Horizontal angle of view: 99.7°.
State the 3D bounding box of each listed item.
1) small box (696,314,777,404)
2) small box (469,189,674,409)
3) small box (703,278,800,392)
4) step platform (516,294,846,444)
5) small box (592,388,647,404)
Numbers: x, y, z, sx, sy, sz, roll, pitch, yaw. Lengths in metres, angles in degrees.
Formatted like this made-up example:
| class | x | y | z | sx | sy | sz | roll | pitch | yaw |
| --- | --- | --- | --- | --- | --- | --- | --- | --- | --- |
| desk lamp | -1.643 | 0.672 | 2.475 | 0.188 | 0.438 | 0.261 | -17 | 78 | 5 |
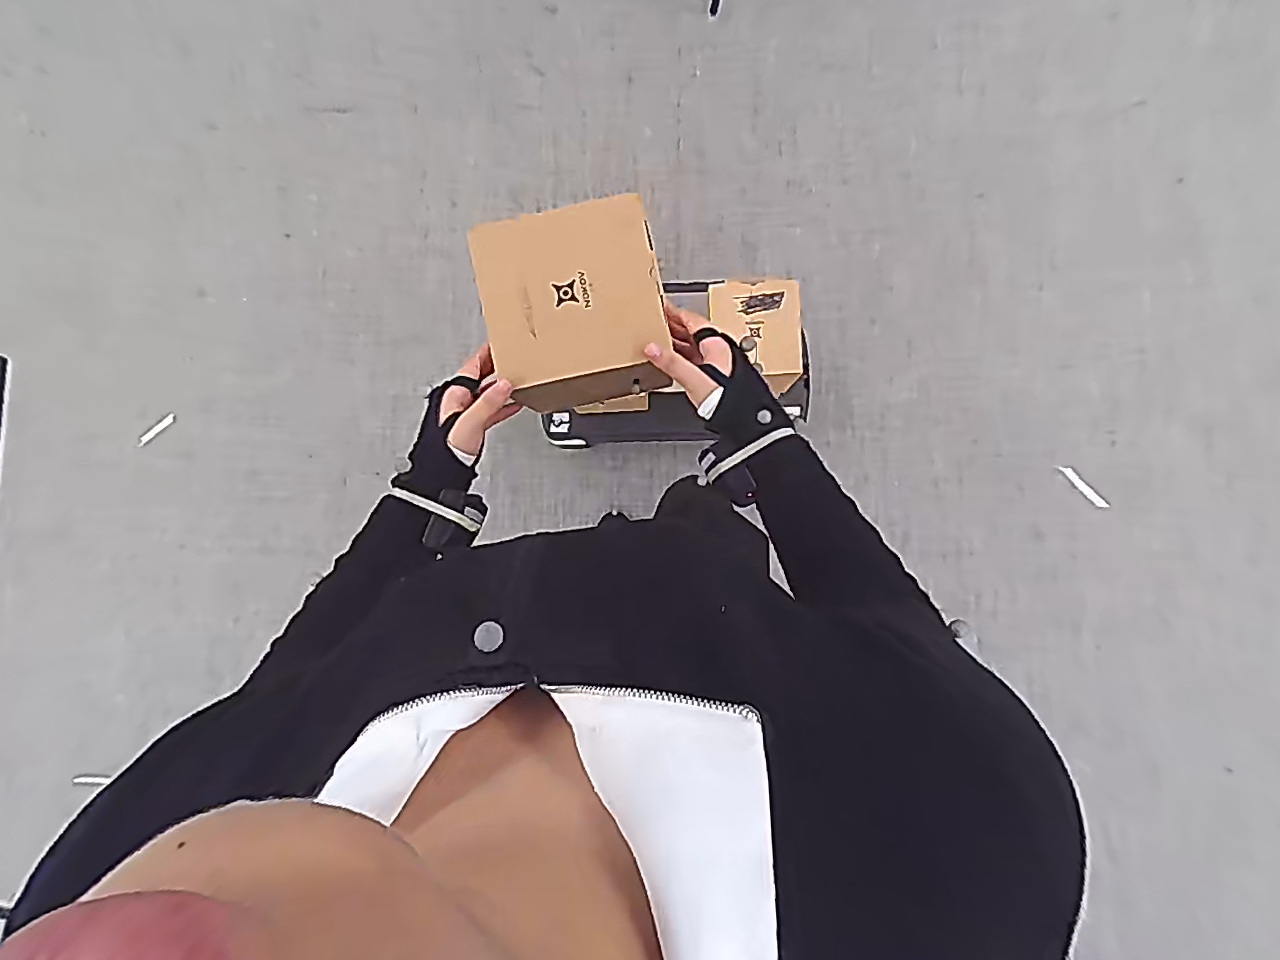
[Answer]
| class | x | y | z | sx | sy | sz | roll | pitch | yaw |
| --- | --- | --- | --- | --- | --- | --- | --- | --- | --- |
| small box | 0.213 | -0.268 | 1.236 | 0.168 | 0.176 | 0.179 | -2 | 87 | 4 |
| small box | -0.064 | -0.185 | 0.604 | 0.179 | 0.176 | 0.168 | -12 | 88 | 3 |
| small box | 0.213 | -0.280 | 1.072 | 0.168 | 0.176 | 0.179 | -2 | 88 | 4 |
| step platform | 0.081 | -0.232 | 1.206 | 0.684 | 0.204 | 0.286 | -1 | 87 | 2 |
| small box | -0.076 | -0.263 | 1.253 | 0.179 | 0.176 | 0.168 | -3 | 87 | 3 |
